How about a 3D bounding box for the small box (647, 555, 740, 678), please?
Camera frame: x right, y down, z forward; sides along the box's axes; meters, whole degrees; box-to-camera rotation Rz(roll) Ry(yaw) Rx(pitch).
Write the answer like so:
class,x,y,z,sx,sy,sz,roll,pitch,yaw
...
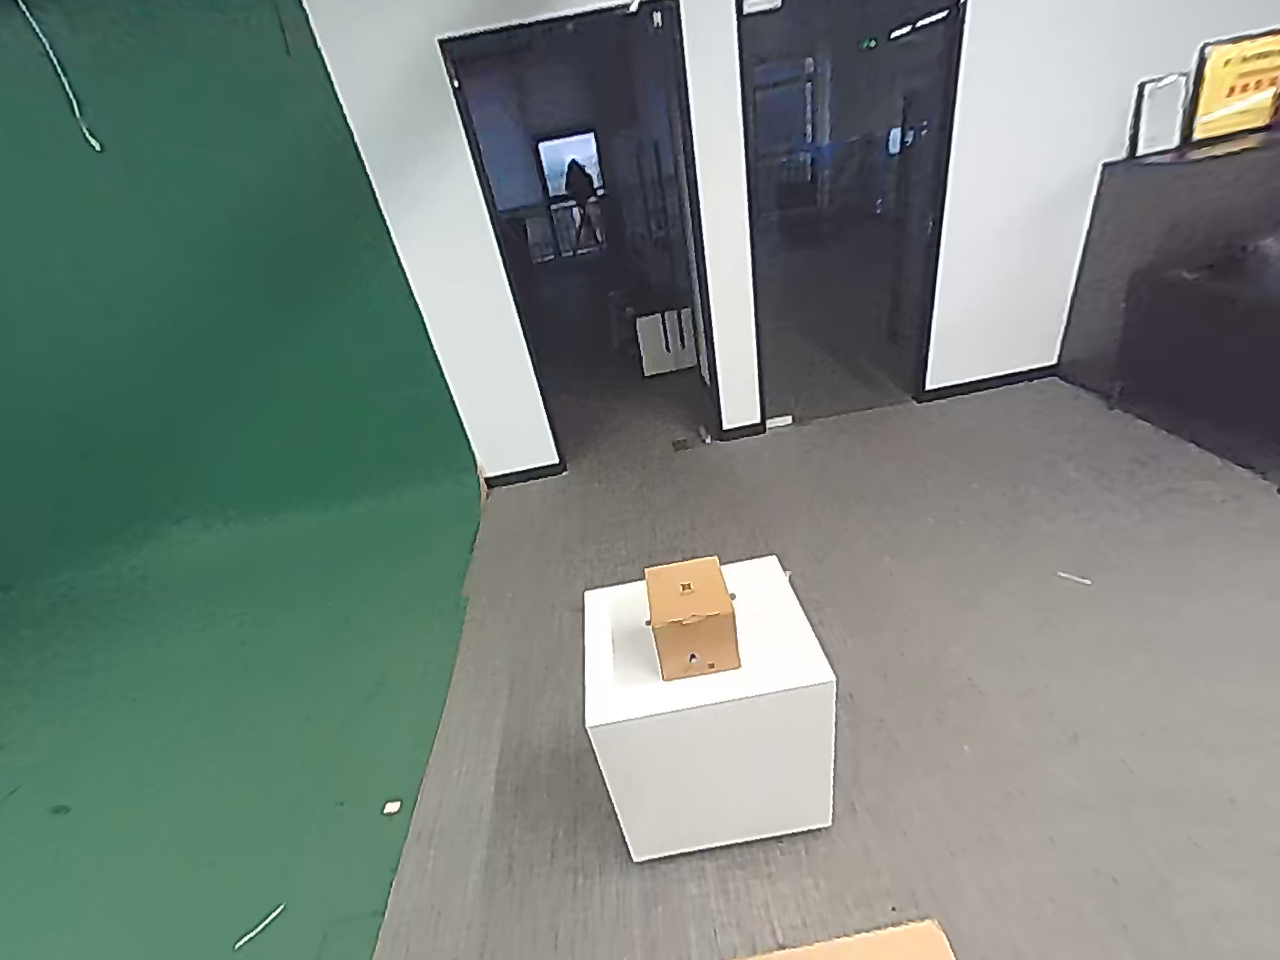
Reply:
class,x,y,z,sx,sy,sz,roll,pitch,yaw
small box,0.111,0.289,1.150,0.168,0.176,0.179,-11,30,1
